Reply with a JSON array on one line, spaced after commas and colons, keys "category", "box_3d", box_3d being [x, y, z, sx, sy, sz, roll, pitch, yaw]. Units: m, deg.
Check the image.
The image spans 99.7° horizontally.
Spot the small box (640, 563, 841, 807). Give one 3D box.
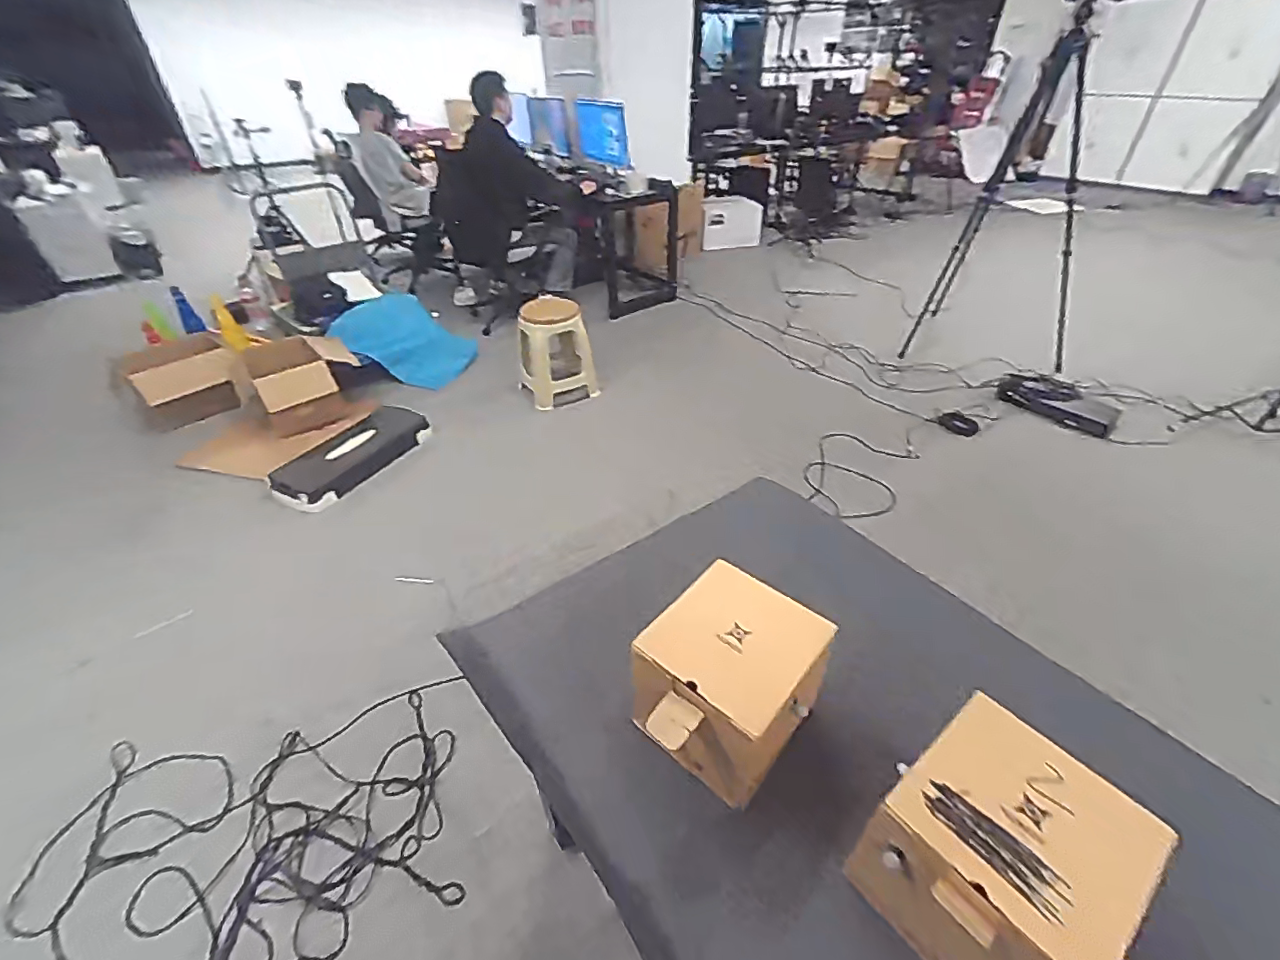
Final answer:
[{"category": "small box", "box_3d": [0.113, 0.241, 0.654, 0.168, 0.176, 0.179, 28, 47, 32]}]
